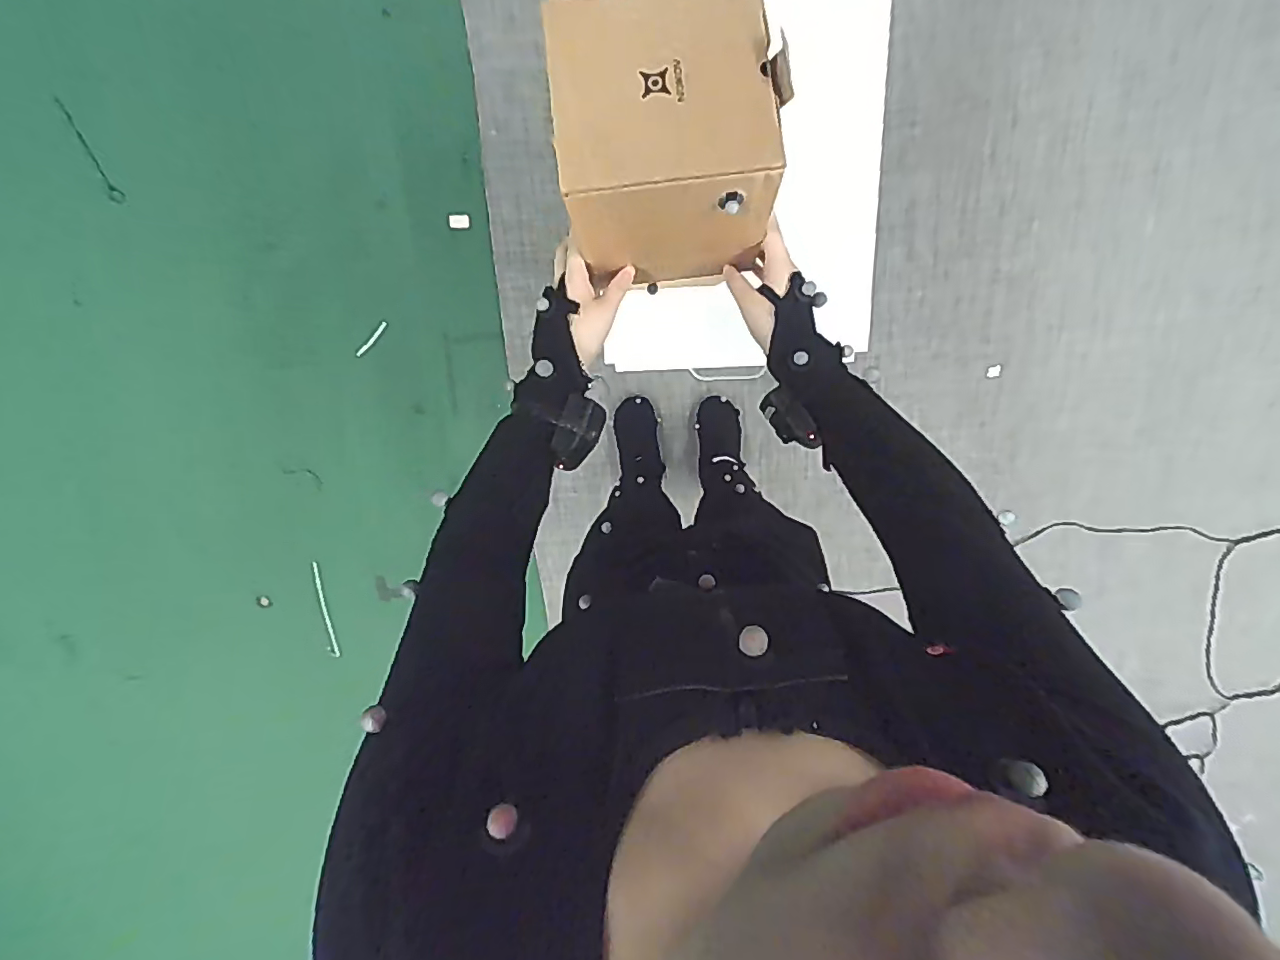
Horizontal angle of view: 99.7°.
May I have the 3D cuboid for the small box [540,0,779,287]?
[{"bbox_3d":[0.017,-0.297,0.501,0.179,0.176,0.168,-6,84,1],"label":"small box"}]
